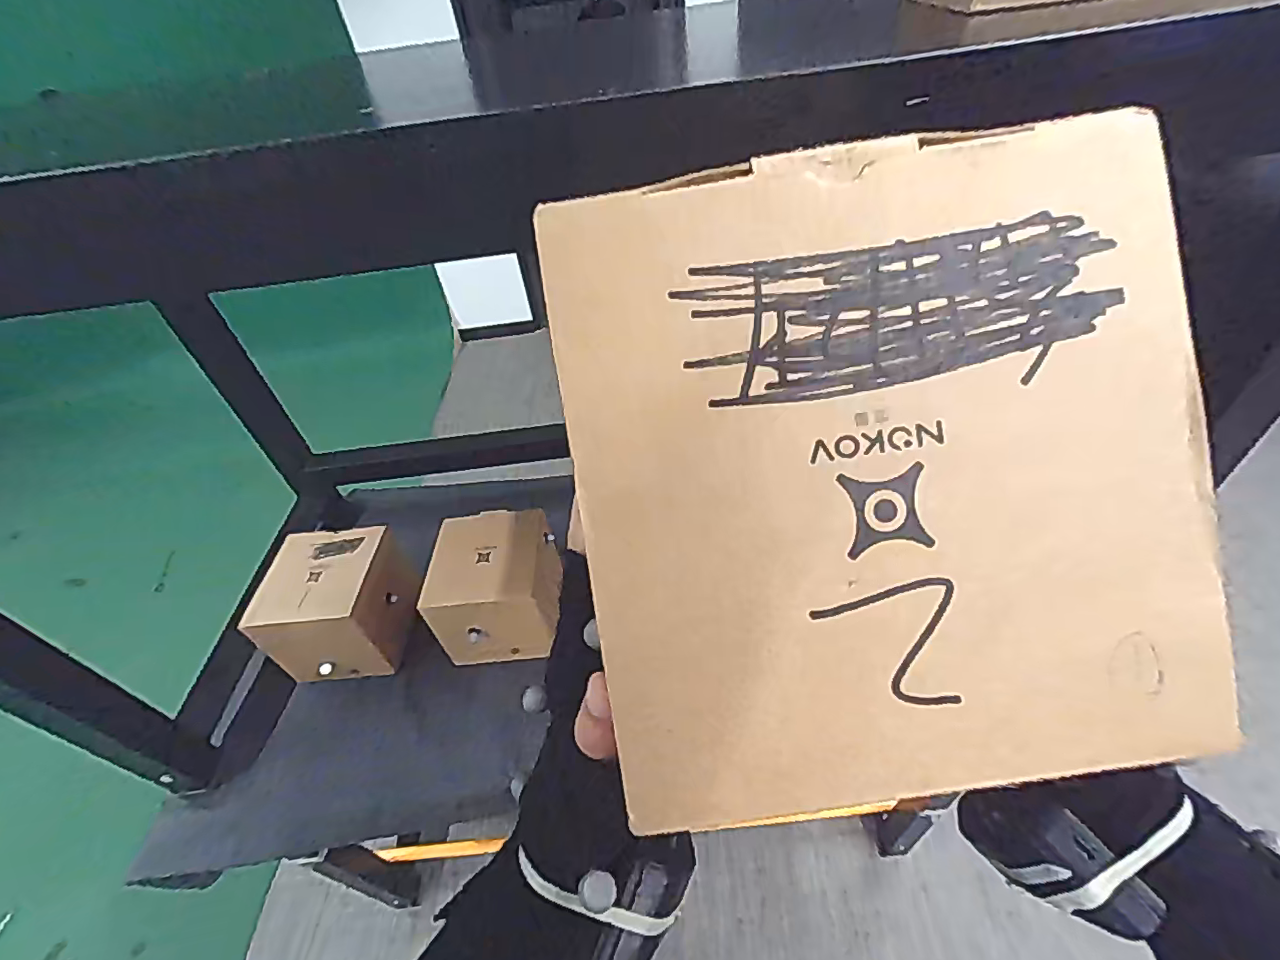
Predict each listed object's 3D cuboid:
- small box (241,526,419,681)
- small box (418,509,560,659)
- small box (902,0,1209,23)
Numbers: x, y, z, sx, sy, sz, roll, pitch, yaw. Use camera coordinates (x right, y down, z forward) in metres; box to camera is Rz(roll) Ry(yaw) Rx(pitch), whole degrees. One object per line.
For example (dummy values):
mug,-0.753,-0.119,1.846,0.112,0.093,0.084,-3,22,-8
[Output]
small box,-0.479,0.199,0.873,0.168,0.176,0.179,-6,43,2
small box,-0.228,0.172,0.869,0.168,0.176,0.179,-6,42,2
small box,0.265,-0.376,0.303,0.168,0.176,0.179,1,43,9
